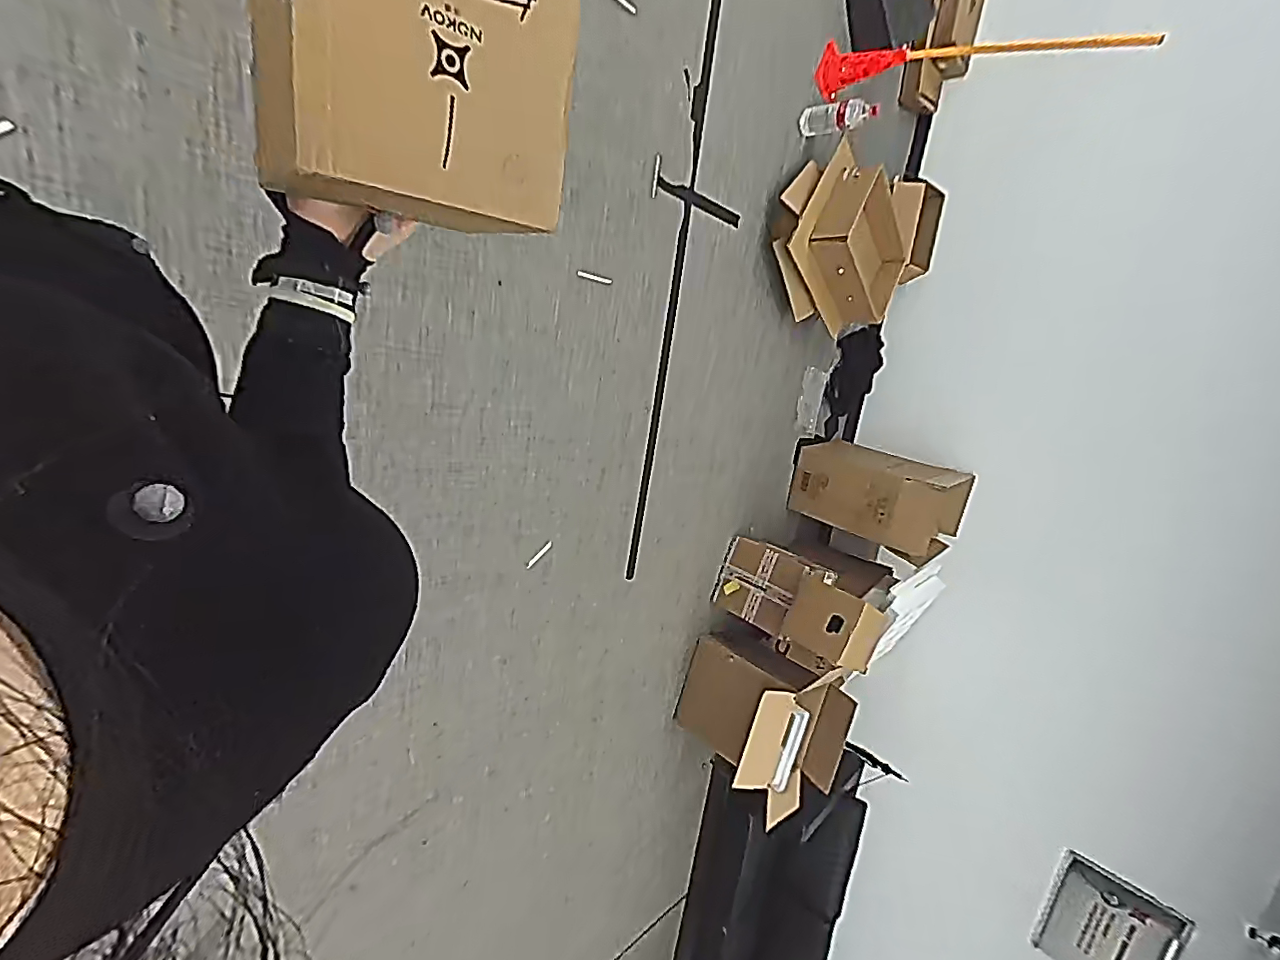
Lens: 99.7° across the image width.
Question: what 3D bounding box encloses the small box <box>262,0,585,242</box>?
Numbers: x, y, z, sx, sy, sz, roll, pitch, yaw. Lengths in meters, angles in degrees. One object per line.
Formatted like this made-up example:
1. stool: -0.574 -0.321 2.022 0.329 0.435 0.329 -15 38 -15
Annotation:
1. small box: -0.161 -0.282 0.388 0.168 0.176 0.179 -5 113 -40
